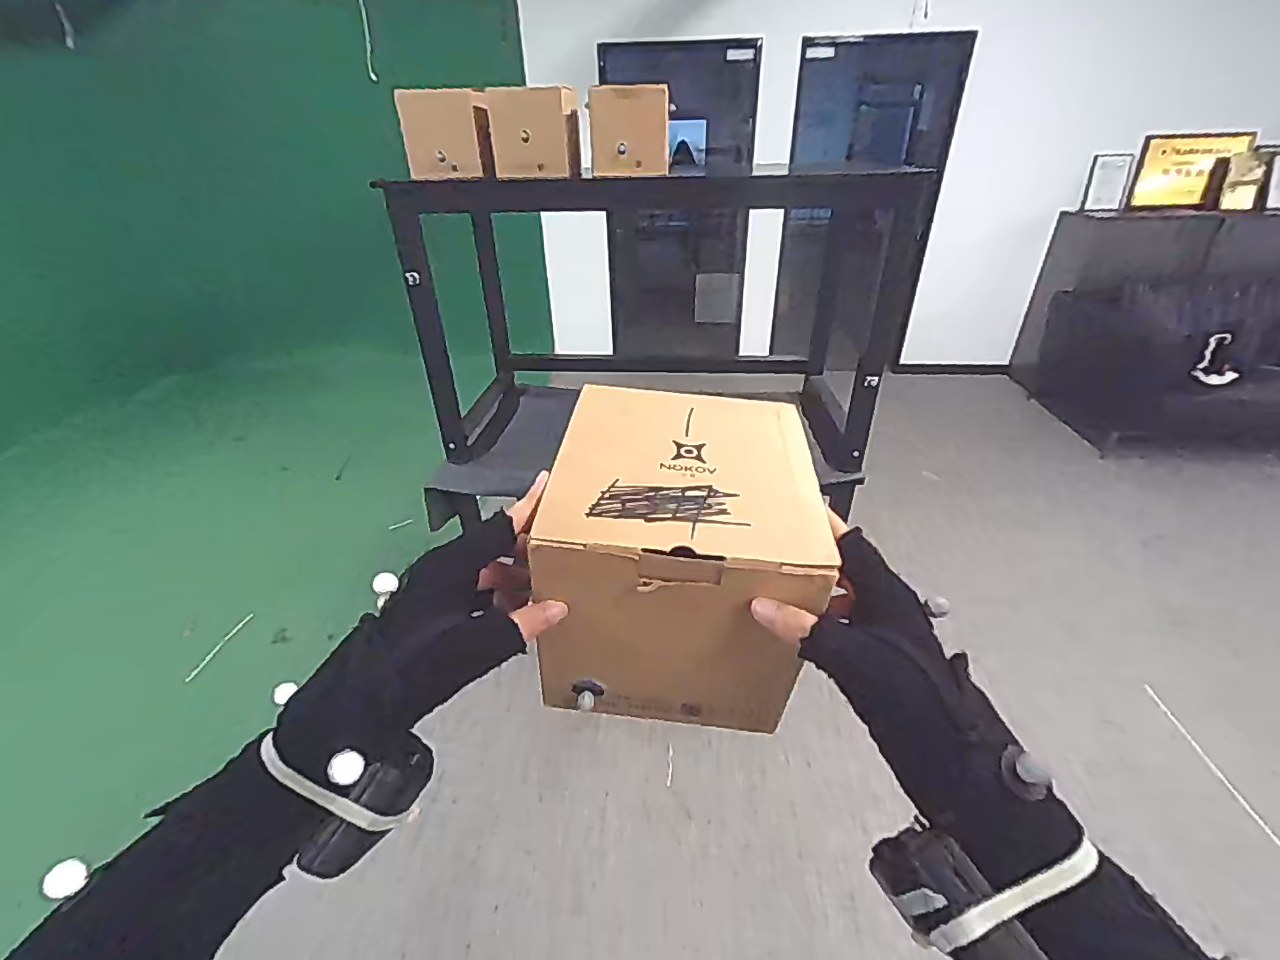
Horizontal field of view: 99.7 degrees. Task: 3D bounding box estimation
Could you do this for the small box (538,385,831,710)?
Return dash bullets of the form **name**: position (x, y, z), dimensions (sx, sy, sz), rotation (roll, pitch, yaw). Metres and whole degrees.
- **small box**: position (0.029, 0.048, 0.410), dimensions (0.168, 0.176, 0.179), rotation (6, 37, 2)
